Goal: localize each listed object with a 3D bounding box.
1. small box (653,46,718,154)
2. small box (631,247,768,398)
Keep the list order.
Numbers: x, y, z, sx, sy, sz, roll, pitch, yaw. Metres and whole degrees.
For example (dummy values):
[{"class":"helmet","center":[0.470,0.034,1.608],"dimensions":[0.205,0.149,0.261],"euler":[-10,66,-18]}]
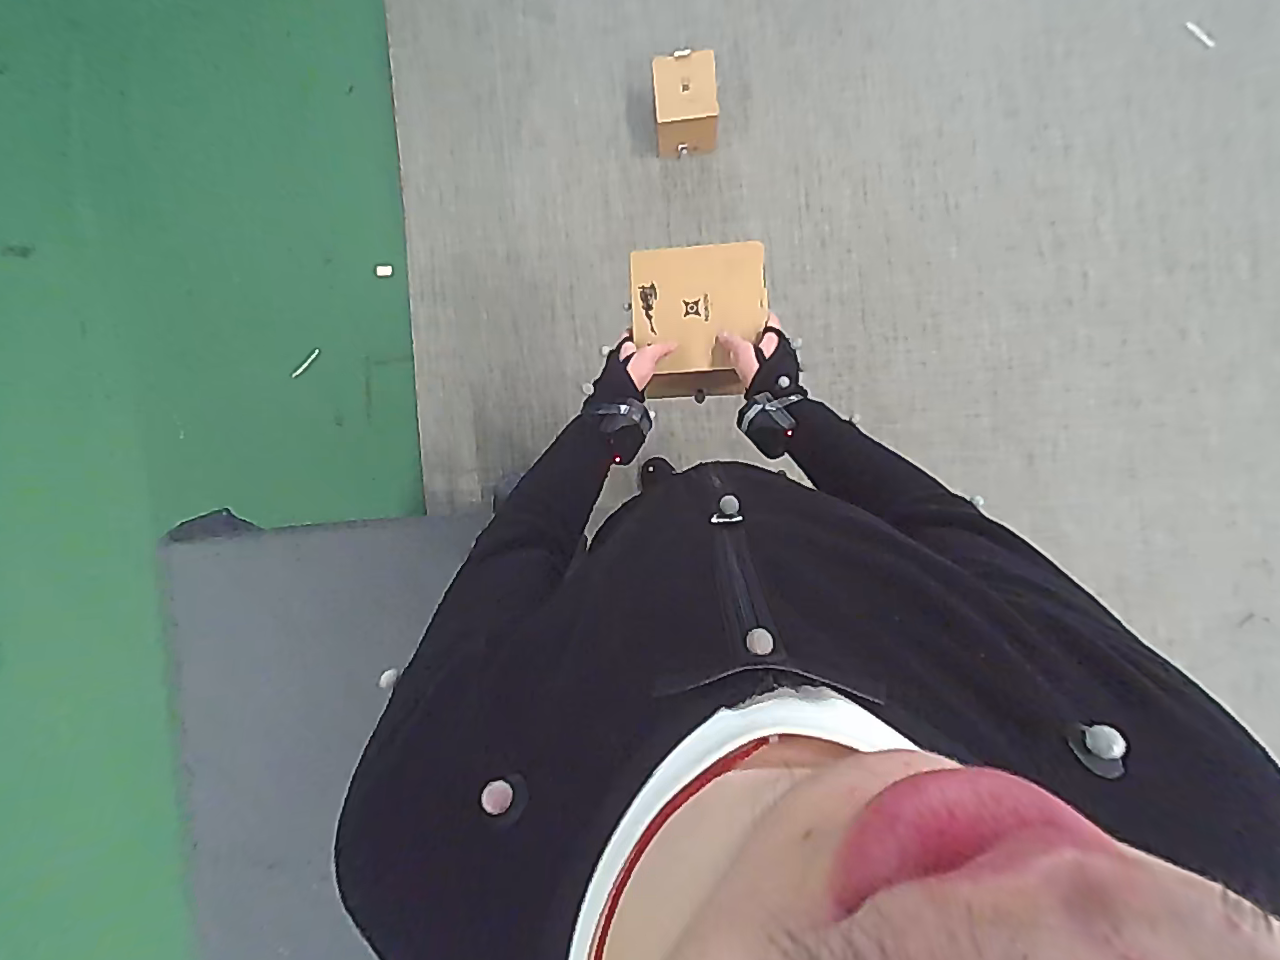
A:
[{"class":"small box","center":[0.124,-1.033,1.481],"dimensions":[0.168,0.176,0.179],"euler":[-3,90,6]},{"class":"small box","center":[0.080,-0.216,0.780],"dimensions":[0.179,0.176,0.168],"euler":[-2,87,4]}]
